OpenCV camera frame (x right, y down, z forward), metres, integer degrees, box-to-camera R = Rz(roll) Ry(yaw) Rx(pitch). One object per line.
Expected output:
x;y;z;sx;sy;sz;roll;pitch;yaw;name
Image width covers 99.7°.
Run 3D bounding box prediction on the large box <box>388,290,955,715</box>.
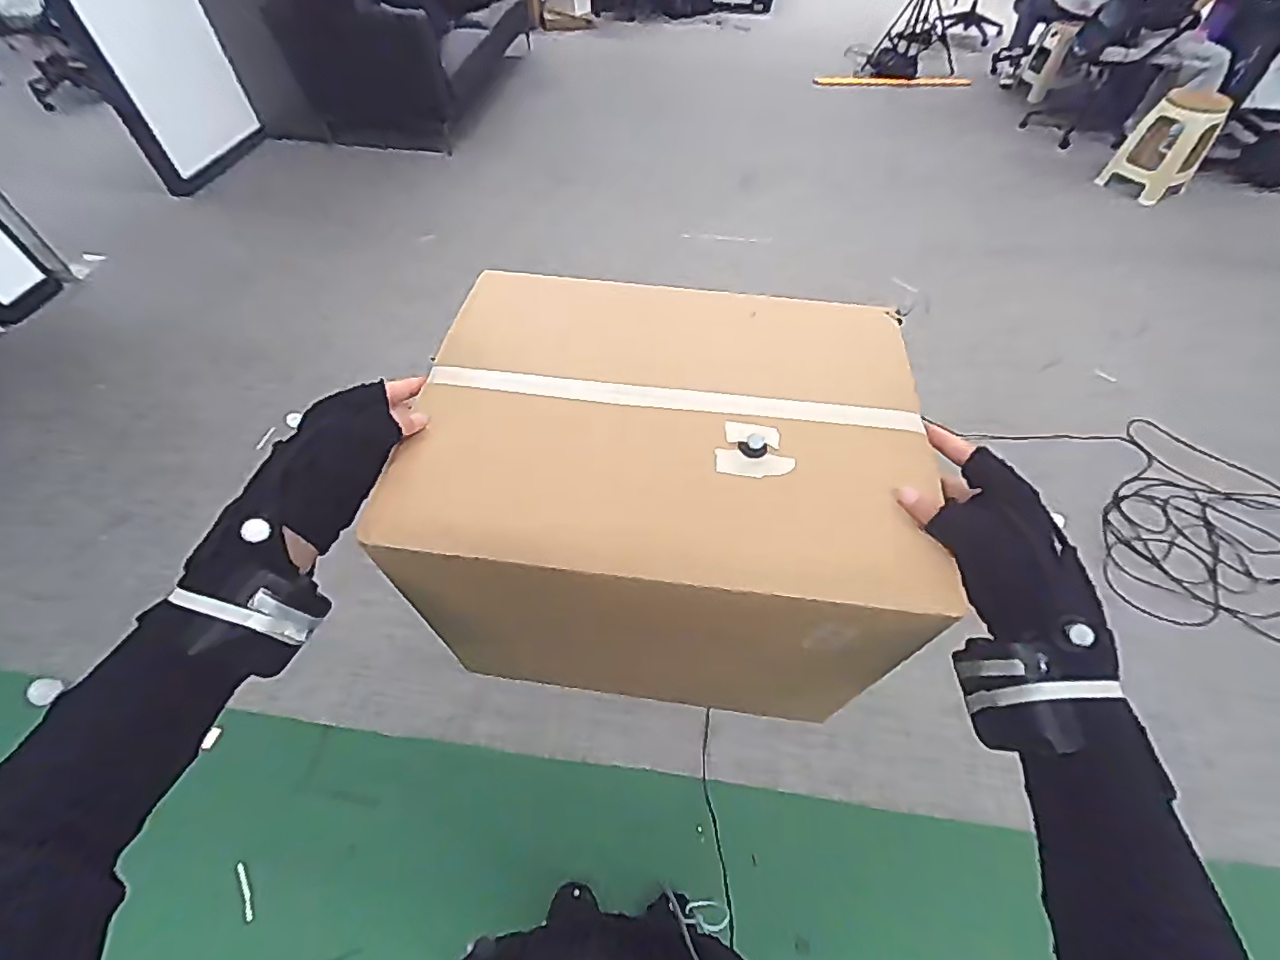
0.027;0.034;0.577;0.408;0.320;0.320;7;55;2;large box
